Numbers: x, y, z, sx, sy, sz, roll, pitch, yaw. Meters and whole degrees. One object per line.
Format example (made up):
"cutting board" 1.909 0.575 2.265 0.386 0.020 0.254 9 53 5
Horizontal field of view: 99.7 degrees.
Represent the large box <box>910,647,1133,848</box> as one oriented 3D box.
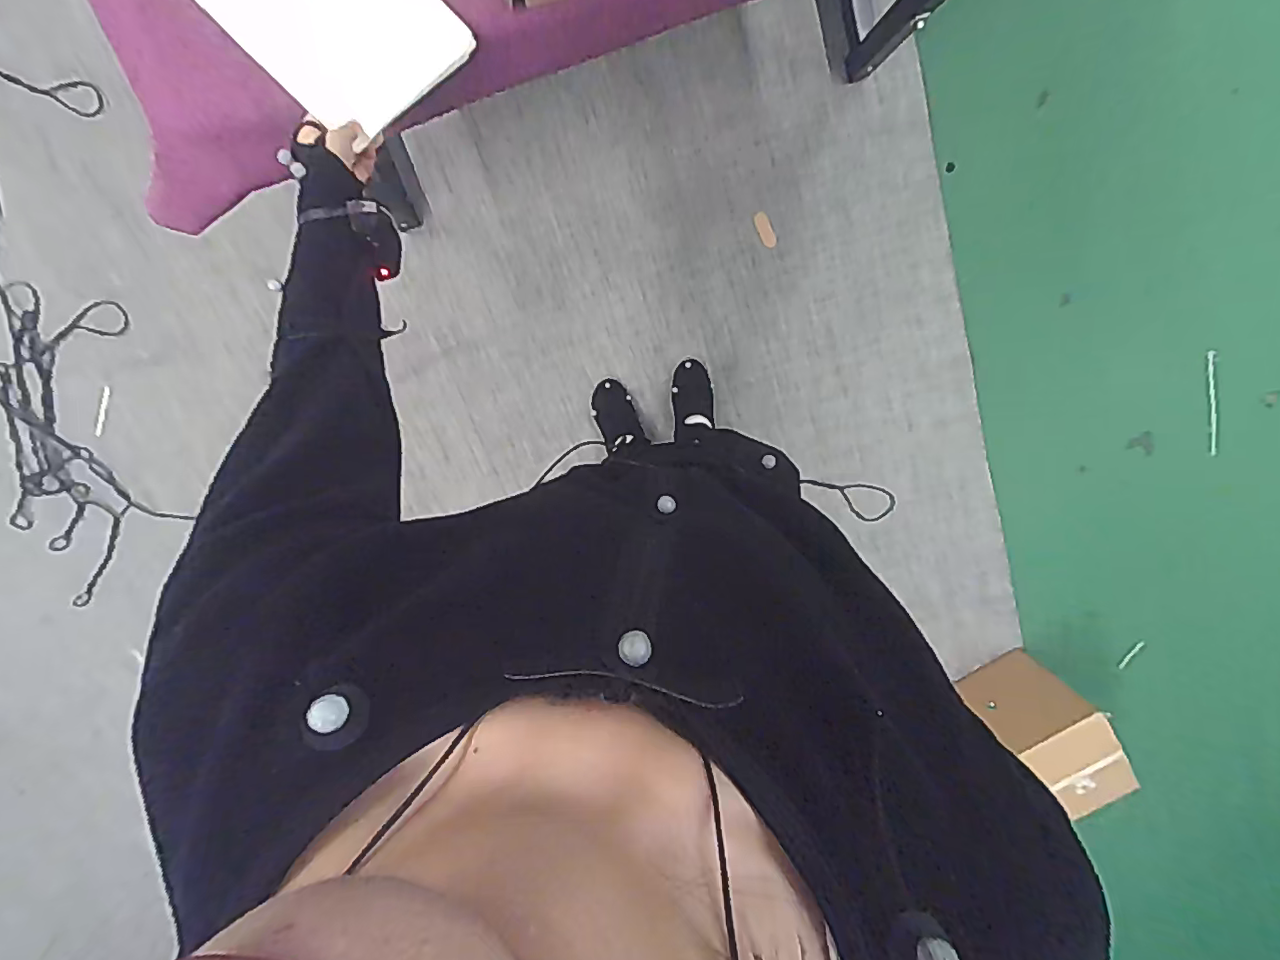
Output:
"large box" 1.132 0.795 1.645 0.408 0.320 0.320 -33 105 4
